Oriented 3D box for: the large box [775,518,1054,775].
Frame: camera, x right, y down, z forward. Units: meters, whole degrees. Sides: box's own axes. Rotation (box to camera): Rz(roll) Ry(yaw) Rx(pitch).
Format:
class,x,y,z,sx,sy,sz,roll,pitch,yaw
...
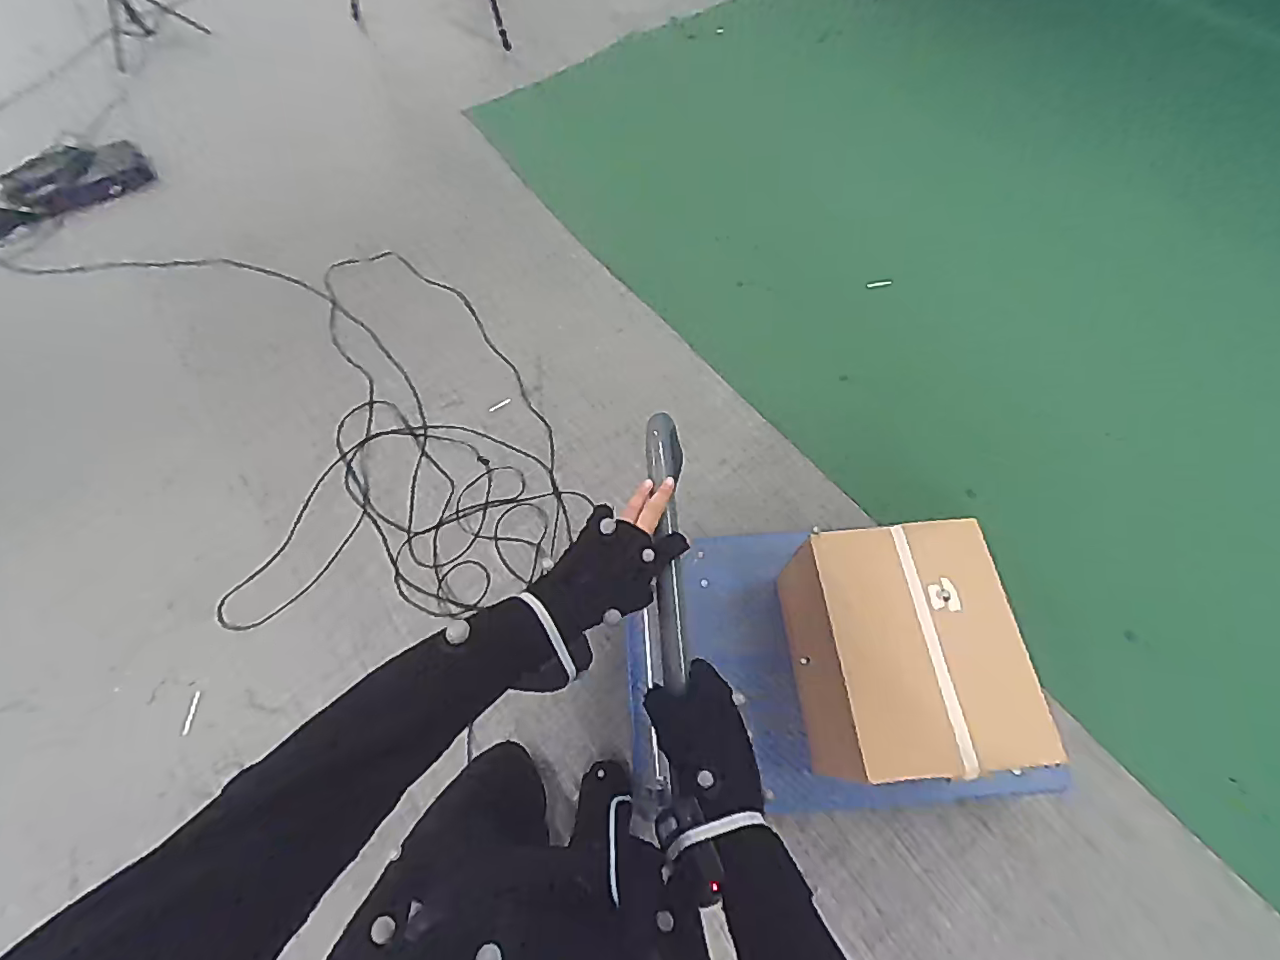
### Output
class,x,y,z,sx,sy,sz,roll,pitch,yaw
large box,0.478,0.326,1.053,0.320,0.320,0.408,-4,64,-2
